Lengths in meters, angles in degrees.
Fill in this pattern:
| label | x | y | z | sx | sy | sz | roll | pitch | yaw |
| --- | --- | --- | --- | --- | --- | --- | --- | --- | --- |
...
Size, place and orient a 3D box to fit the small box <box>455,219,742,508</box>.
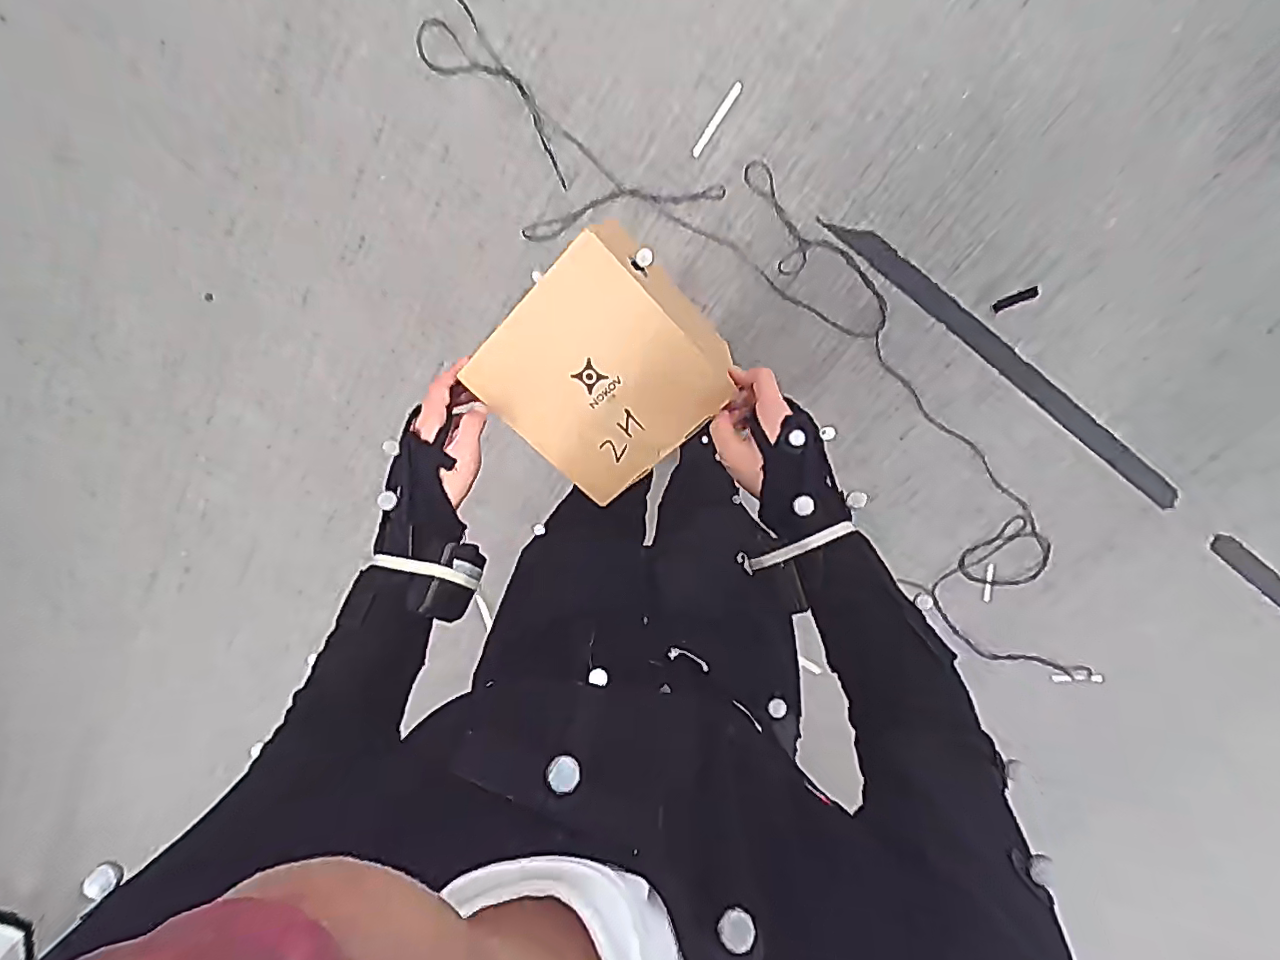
| label | x | y | z | sx | sy | sz | roll | pitch | yaw |
| --- | --- | --- | --- | --- | --- | --- | --- | --- | --- |
| small box | -0.029 | -0.114 | 0.502 | 0.168 | 0.176 | 0.179 | -40 | 108 | 23 |
